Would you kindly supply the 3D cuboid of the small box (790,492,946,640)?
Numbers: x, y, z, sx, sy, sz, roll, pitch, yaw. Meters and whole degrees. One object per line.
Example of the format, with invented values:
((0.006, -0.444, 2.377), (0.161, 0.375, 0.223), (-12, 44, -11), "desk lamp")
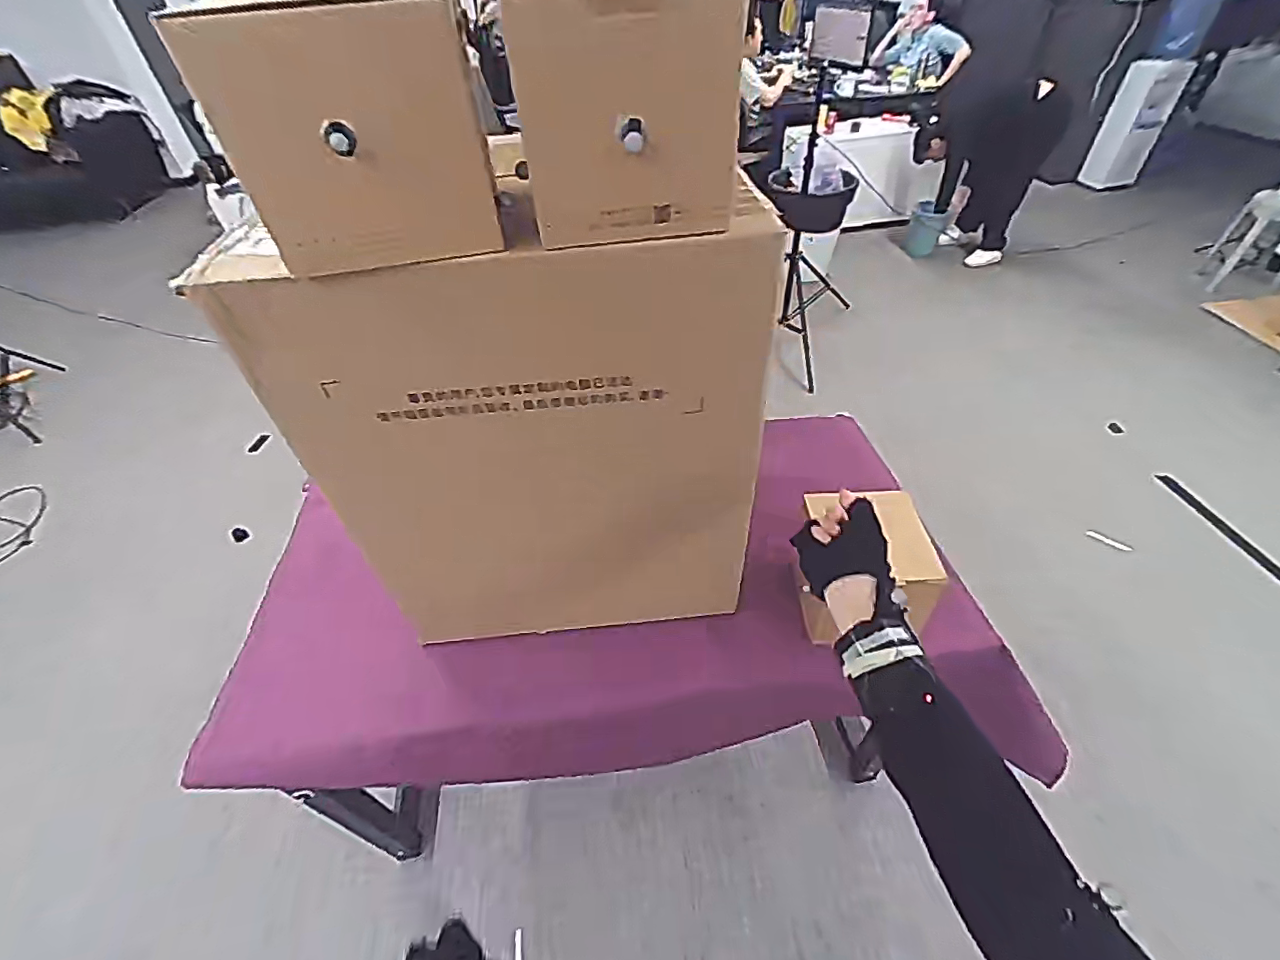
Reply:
((0.347, 0.141, 0.862), (0.168, 0.176, 0.179), (-2, 43, 1), "small box")
